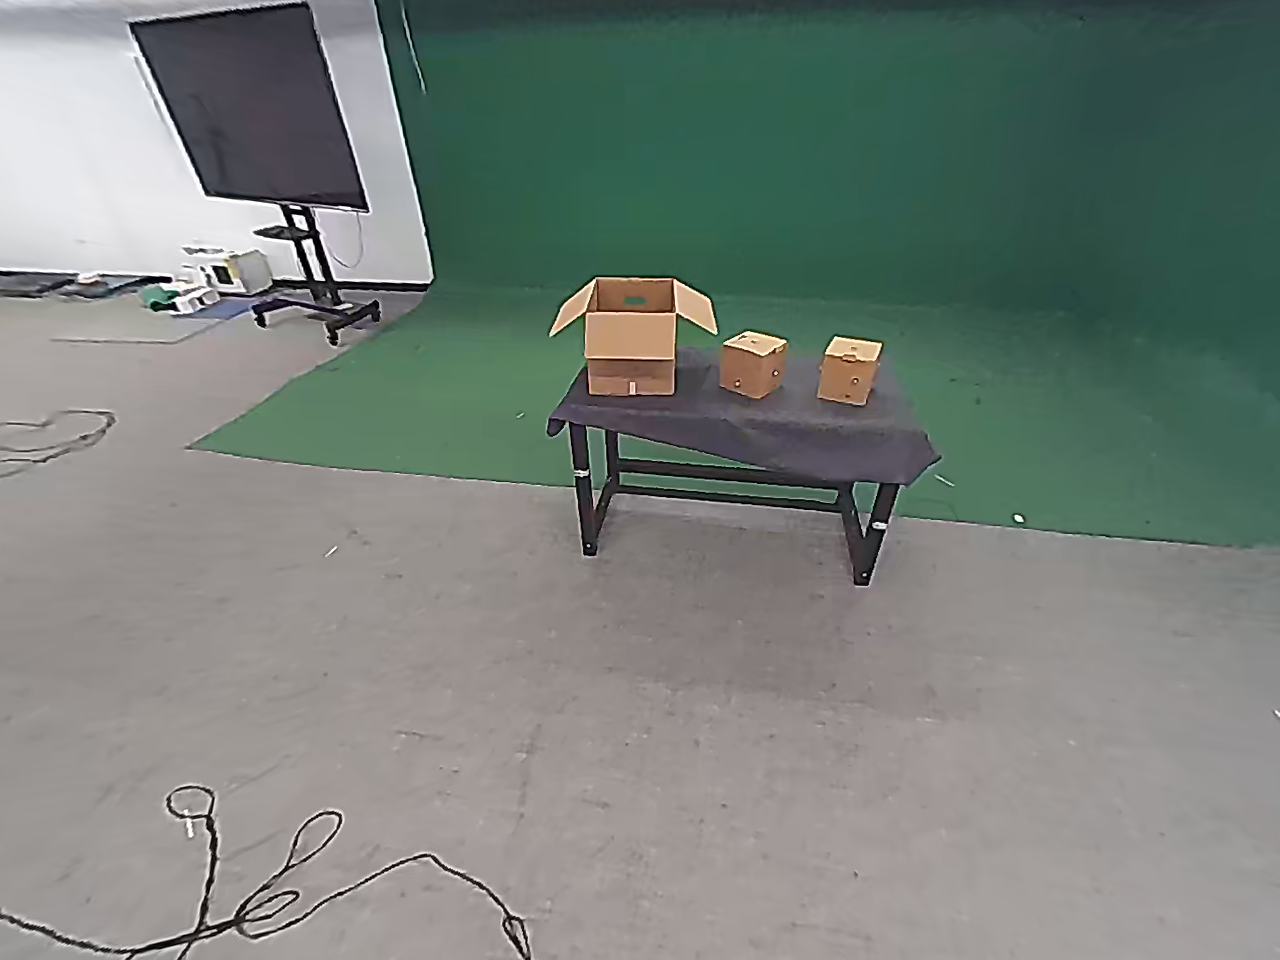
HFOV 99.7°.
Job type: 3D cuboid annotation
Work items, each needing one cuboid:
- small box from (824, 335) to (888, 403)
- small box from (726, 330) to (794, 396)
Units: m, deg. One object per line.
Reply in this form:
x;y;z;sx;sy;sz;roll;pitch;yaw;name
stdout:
0.757;-0.390;1.901;0.168;0.176;0.179;16;38;22;small box
0.432;-0.422;1.961;0.179;0.176;0.168;29;46;35;small box
